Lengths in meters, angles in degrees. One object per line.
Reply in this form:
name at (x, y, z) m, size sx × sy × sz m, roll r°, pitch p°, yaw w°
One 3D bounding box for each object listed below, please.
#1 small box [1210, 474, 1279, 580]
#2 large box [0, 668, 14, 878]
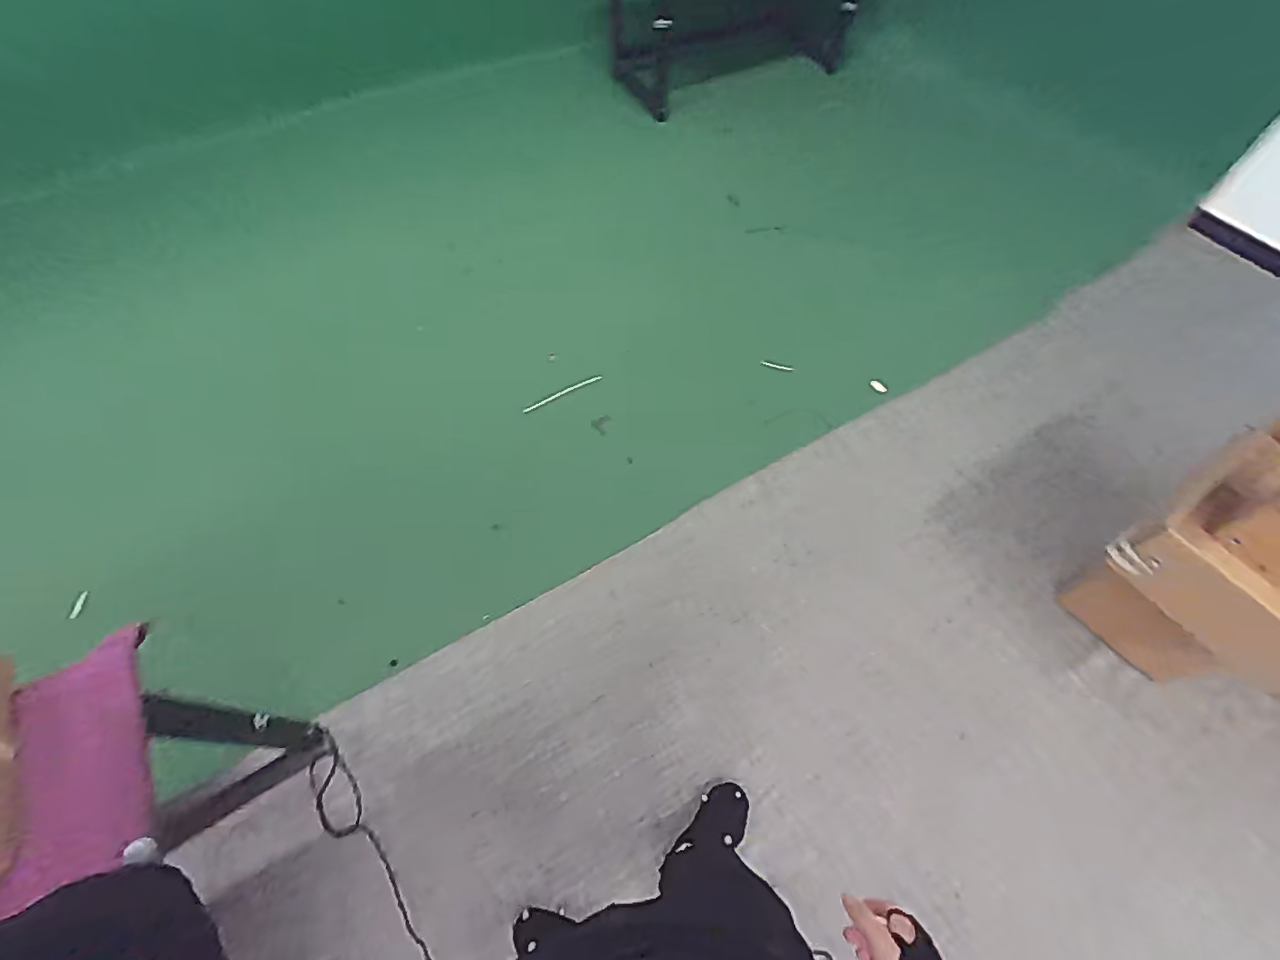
small box at (1.425, 0.091, 1.178) m, size 0.179 × 0.176 × 0.168 m, roll -29°, pitch 64°, yaw -17°
large box at (-1.053, 0.412, 0.579) m, size 0.408 × 0.320 × 0.320 m, roll -28°, pitch 65°, yaw -15°
